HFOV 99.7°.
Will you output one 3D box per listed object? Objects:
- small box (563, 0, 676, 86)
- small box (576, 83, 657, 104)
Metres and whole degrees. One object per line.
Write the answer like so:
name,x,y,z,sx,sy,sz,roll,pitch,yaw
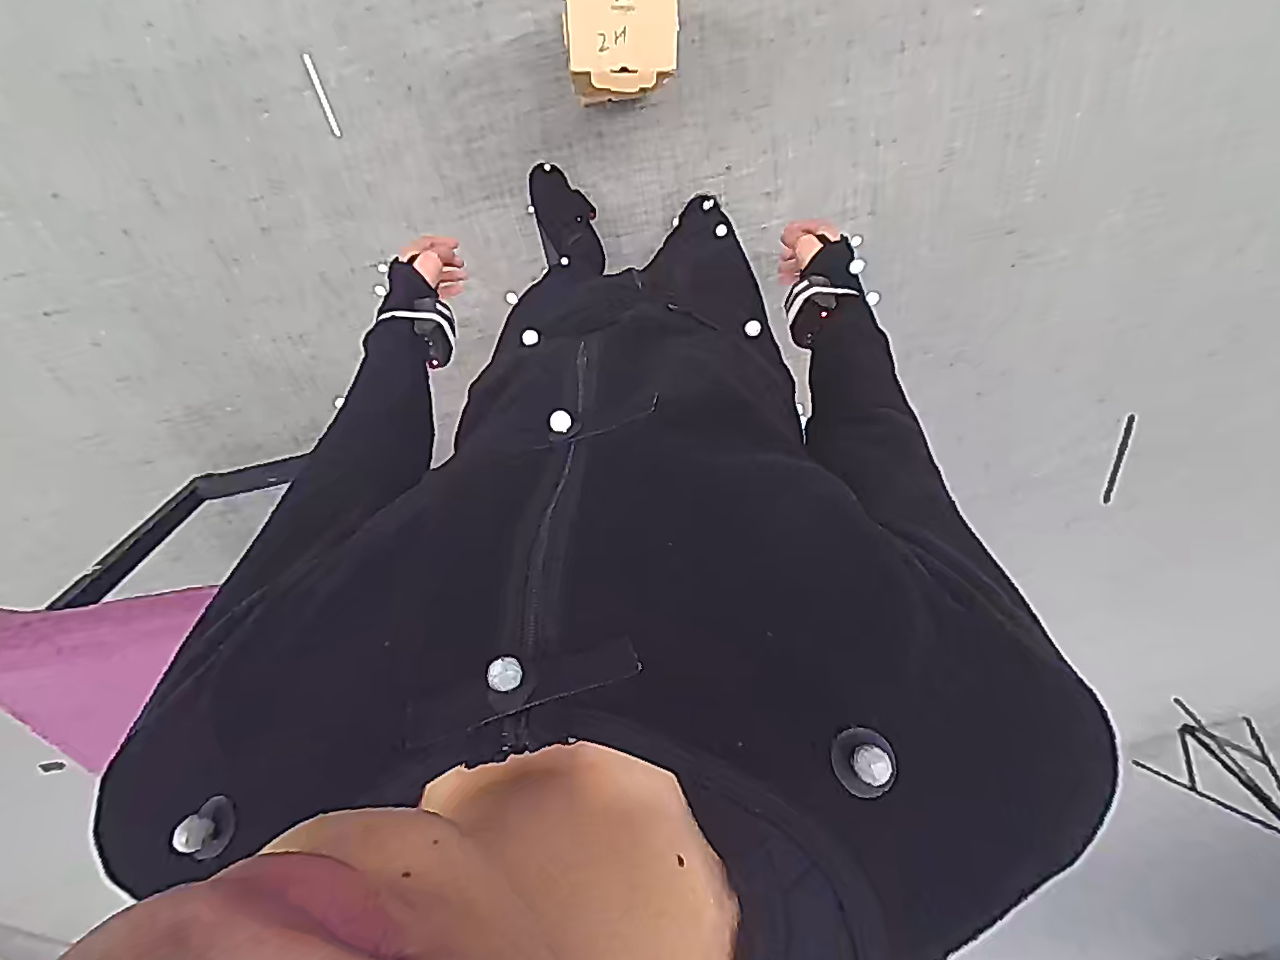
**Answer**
small box,-0.037,-0.745,0.859,0.168,0.176,0.179,-4,122,-5
small box,-0.060,-0.910,1.145,0.168,0.176,0.179,-9,122,-2
